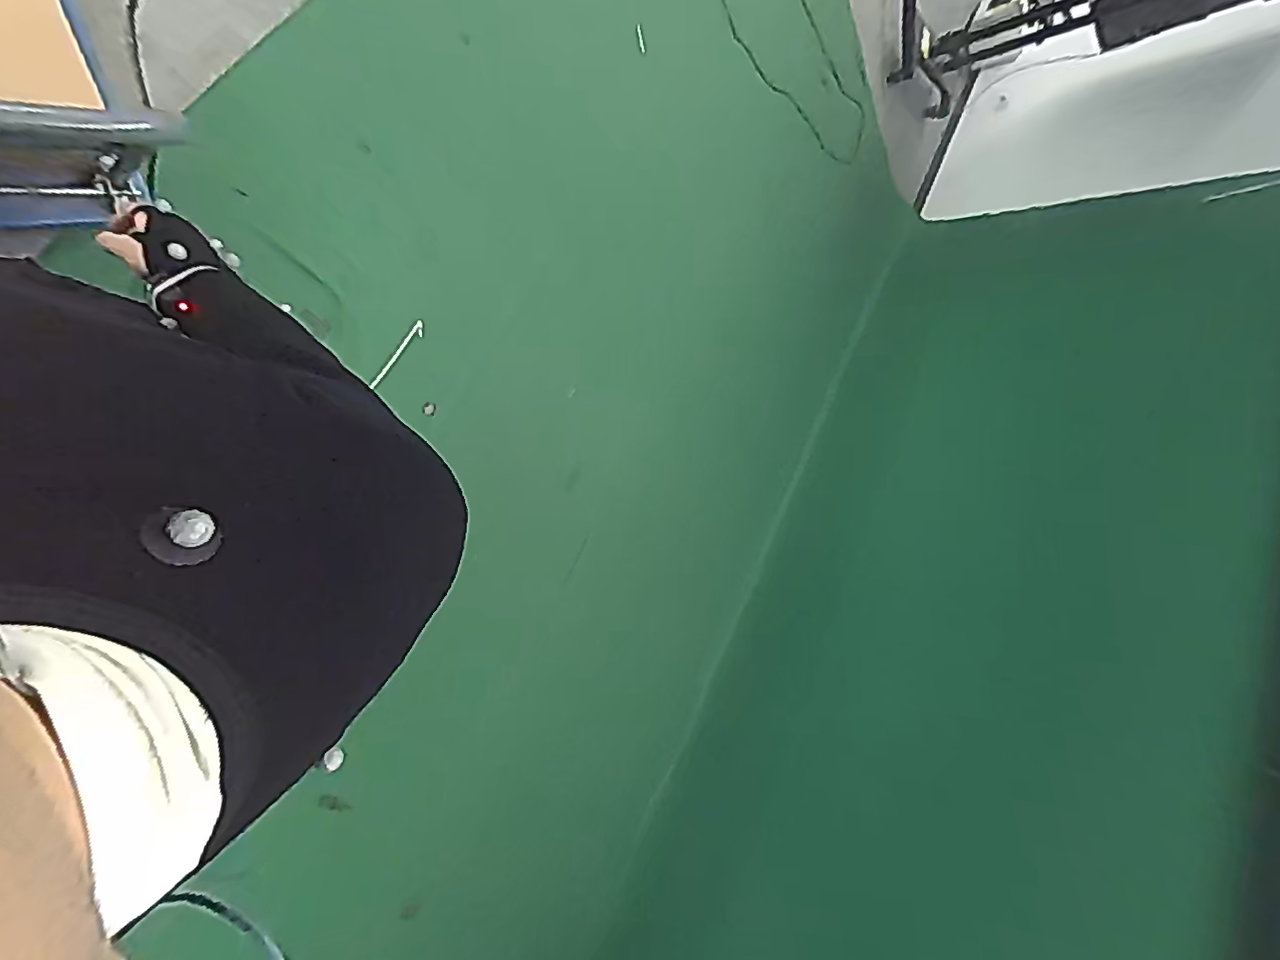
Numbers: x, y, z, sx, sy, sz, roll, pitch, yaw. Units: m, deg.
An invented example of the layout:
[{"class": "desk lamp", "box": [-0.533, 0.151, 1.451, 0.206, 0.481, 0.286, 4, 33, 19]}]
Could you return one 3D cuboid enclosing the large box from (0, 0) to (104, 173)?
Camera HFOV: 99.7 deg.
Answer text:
[{"class": "large box", "box": [-1.052, -0.683, 0.754, 0.320, 0.320, 0.408, -29, 118, -40]}]
